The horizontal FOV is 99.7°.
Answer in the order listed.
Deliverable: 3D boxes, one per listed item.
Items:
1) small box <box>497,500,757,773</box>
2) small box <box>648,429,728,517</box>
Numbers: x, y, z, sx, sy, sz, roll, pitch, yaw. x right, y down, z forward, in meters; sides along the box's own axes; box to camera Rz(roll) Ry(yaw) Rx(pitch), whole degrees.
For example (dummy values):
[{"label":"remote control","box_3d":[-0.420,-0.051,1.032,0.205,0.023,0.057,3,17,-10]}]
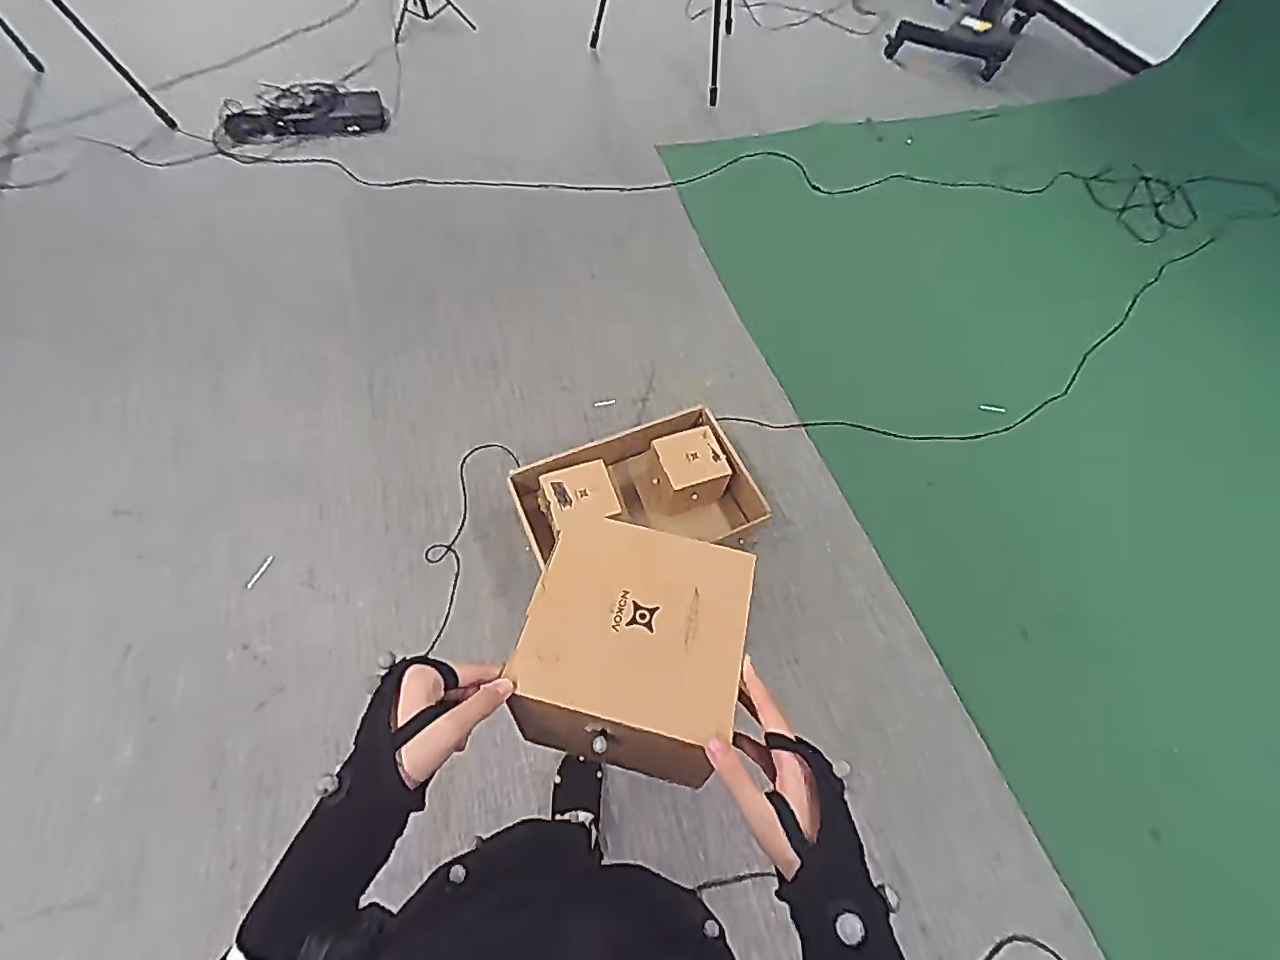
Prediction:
[{"label":"small box","box_3d":[-0.006,0.148,0.495,0.179,0.176,0.168,14,53,6]},{"label":"small box","box_3d":[0.126,-0.015,1.534,0.179,0.176,0.168,-16,64,-13]}]
